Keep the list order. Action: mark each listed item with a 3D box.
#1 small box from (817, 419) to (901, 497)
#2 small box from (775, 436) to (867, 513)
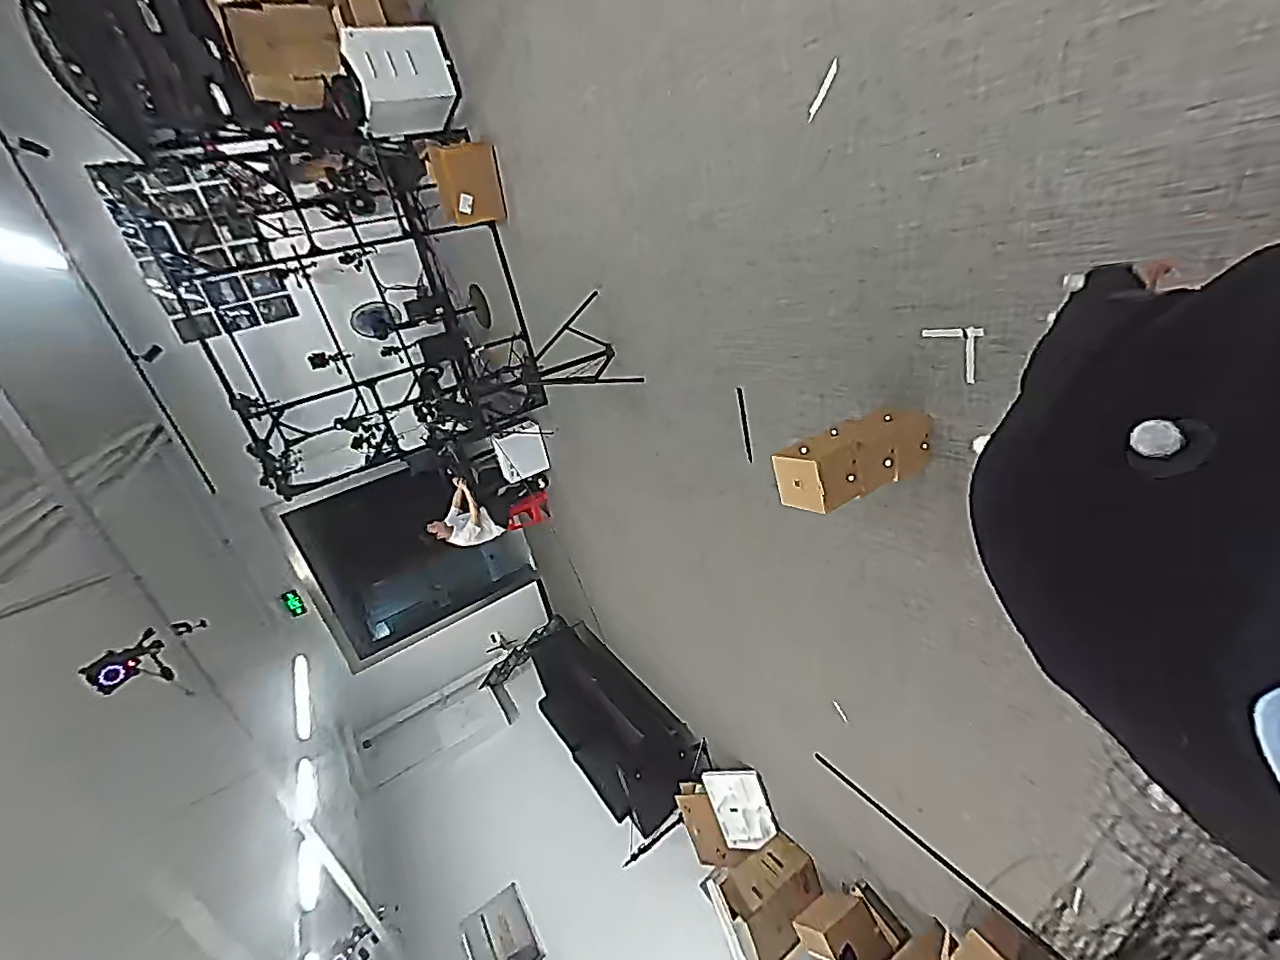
[{"bbox_3d":[0.670,-0.075,1.662,0.179,0.176,0.168,29,138,51],"label":"small box"},{"bbox_3d":[0.532,-0.024,1.589,0.179,0.176,0.168,14,125,59],"label":"small box"}]
